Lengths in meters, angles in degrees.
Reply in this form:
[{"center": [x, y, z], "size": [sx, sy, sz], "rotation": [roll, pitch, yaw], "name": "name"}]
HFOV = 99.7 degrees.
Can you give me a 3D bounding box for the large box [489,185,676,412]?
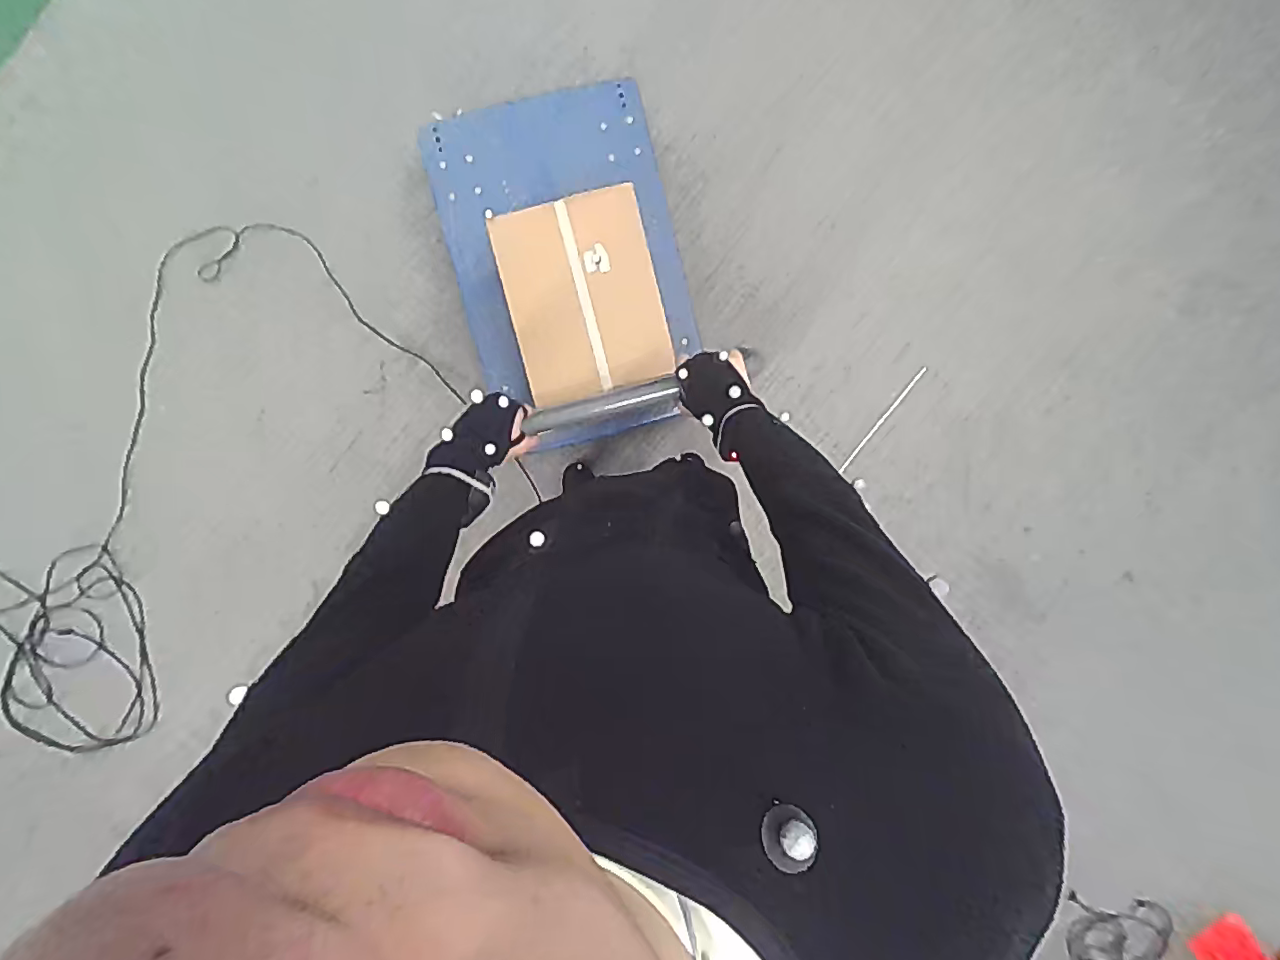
[{"center": [-0.121, -0.399, 1.289], "size": [0.320, 0.320, 0.408], "rotation": [-14, 94, -1], "name": "large box"}]
